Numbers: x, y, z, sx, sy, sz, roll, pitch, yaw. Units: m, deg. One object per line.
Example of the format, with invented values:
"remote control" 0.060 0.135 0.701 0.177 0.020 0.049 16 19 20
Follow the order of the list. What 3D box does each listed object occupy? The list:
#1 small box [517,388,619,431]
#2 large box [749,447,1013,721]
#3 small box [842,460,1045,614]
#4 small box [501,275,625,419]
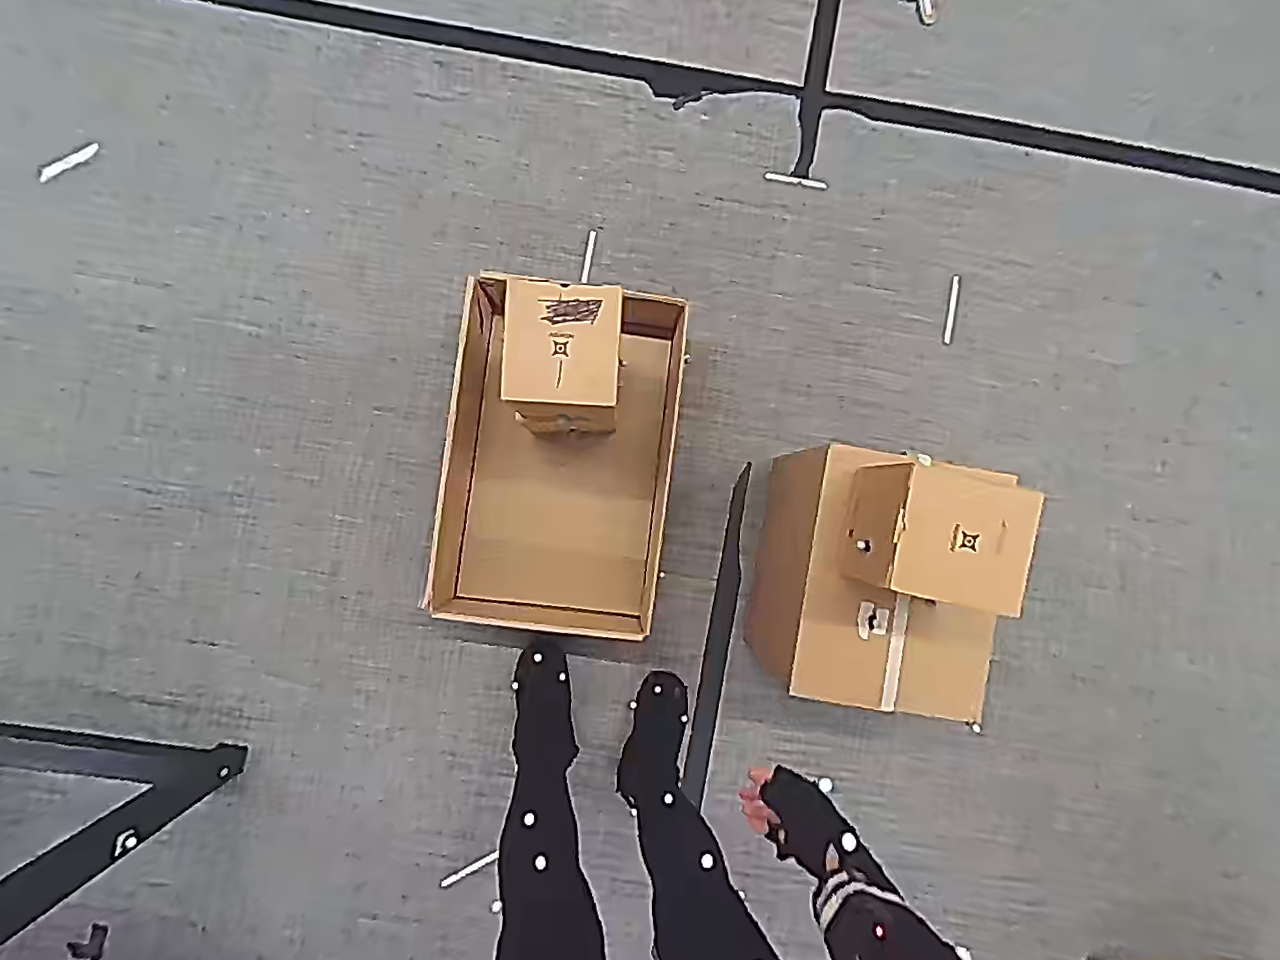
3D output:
"small box" -0.130 -0.183 1.008 0.179 0.176 0.168 -1 89 -3
"large box" 0.412 0.165 1.000 0.320 0.320 0.408 9 89 -1
"small box" 0.408 0.073 0.758 0.179 0.176 0.168 12 90 -1
"small box" -0.113 -0.197 0.844 0.168 0.176 0.179 3 90 -2
